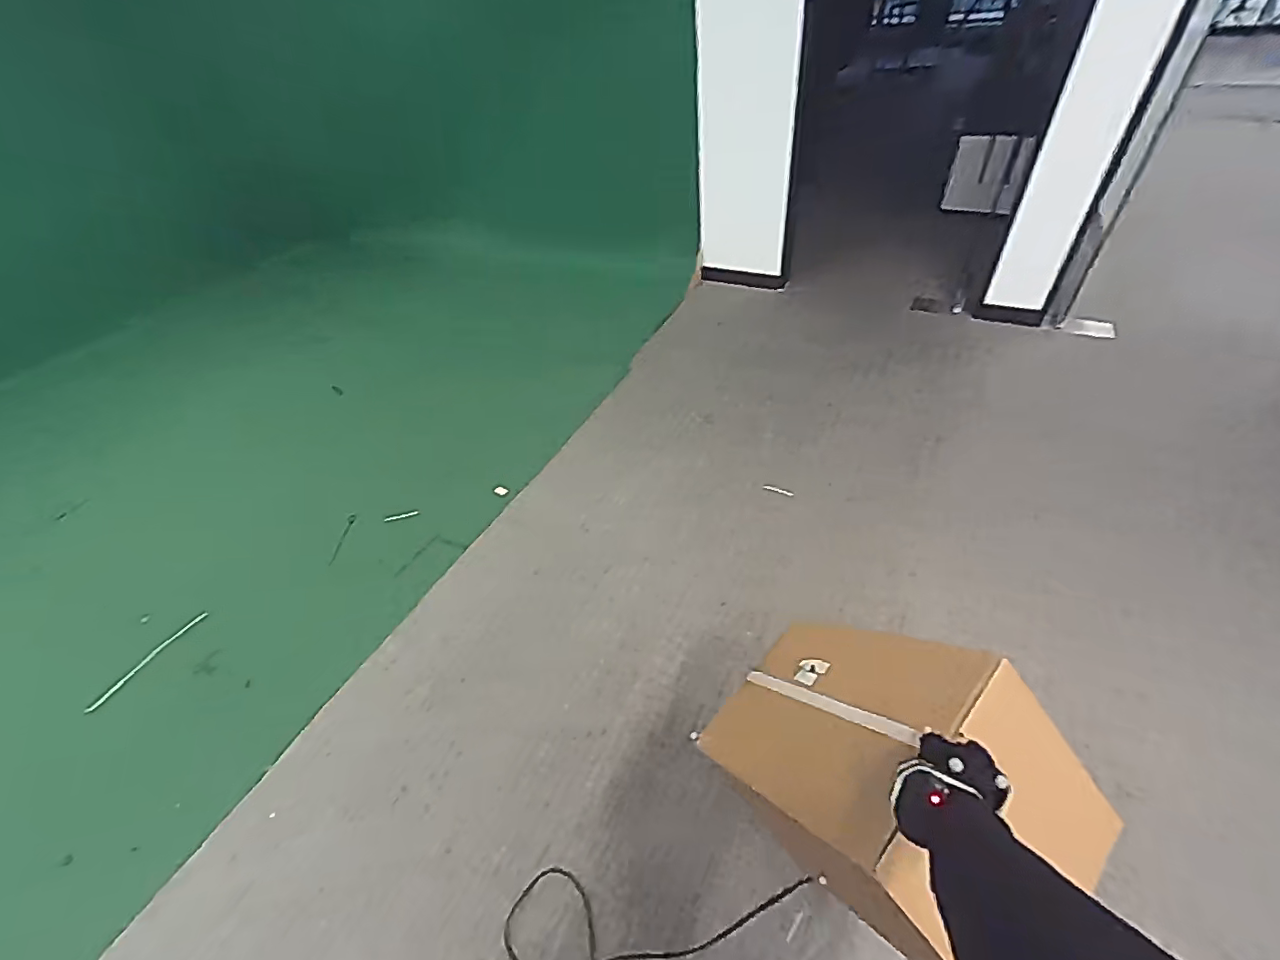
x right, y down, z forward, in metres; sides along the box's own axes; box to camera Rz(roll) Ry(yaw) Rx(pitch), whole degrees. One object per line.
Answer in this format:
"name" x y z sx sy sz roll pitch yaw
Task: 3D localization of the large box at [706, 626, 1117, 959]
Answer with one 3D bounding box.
"large box" 0.384 0.466 0.836 0.320 0.408 0.320 -41 97 -20
